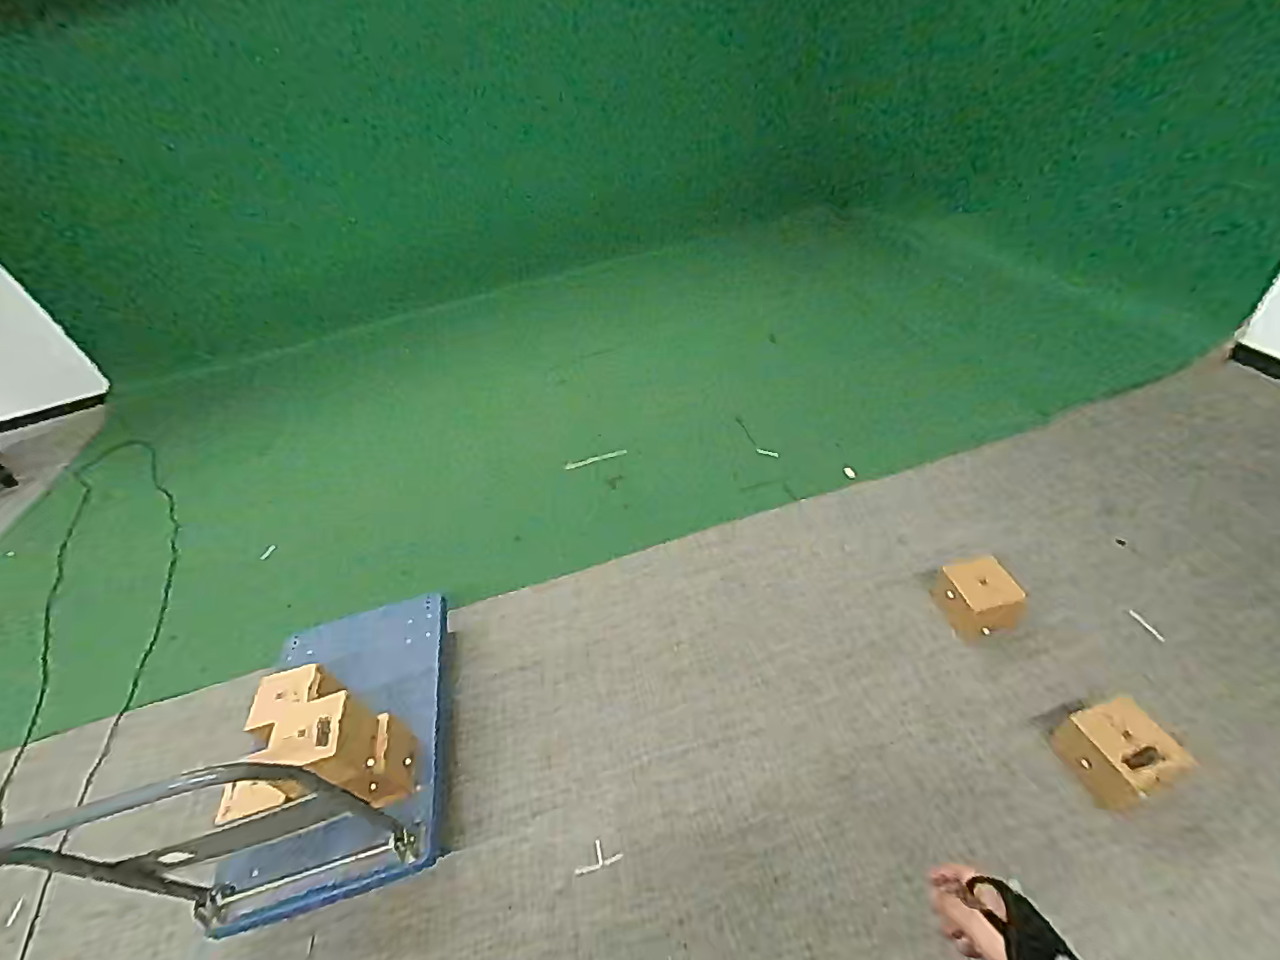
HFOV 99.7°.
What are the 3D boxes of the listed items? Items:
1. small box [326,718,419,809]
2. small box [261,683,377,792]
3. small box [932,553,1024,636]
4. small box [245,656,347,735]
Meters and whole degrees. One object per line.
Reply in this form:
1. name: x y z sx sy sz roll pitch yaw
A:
1. small box: -0.733 0.757 1.458 0.168 0.176 0.179 6 46 17
2. small box: -0.782 0.639 1.341 0.179 0.176 0.168 -17 41 -4
3. small box: 1.056 0.363 1.710 0.168 0.176 0.179 -13 42 1
4. small box: -1.020 0.661 1.619 0.179 0.176 0.168 -14 42 -2
